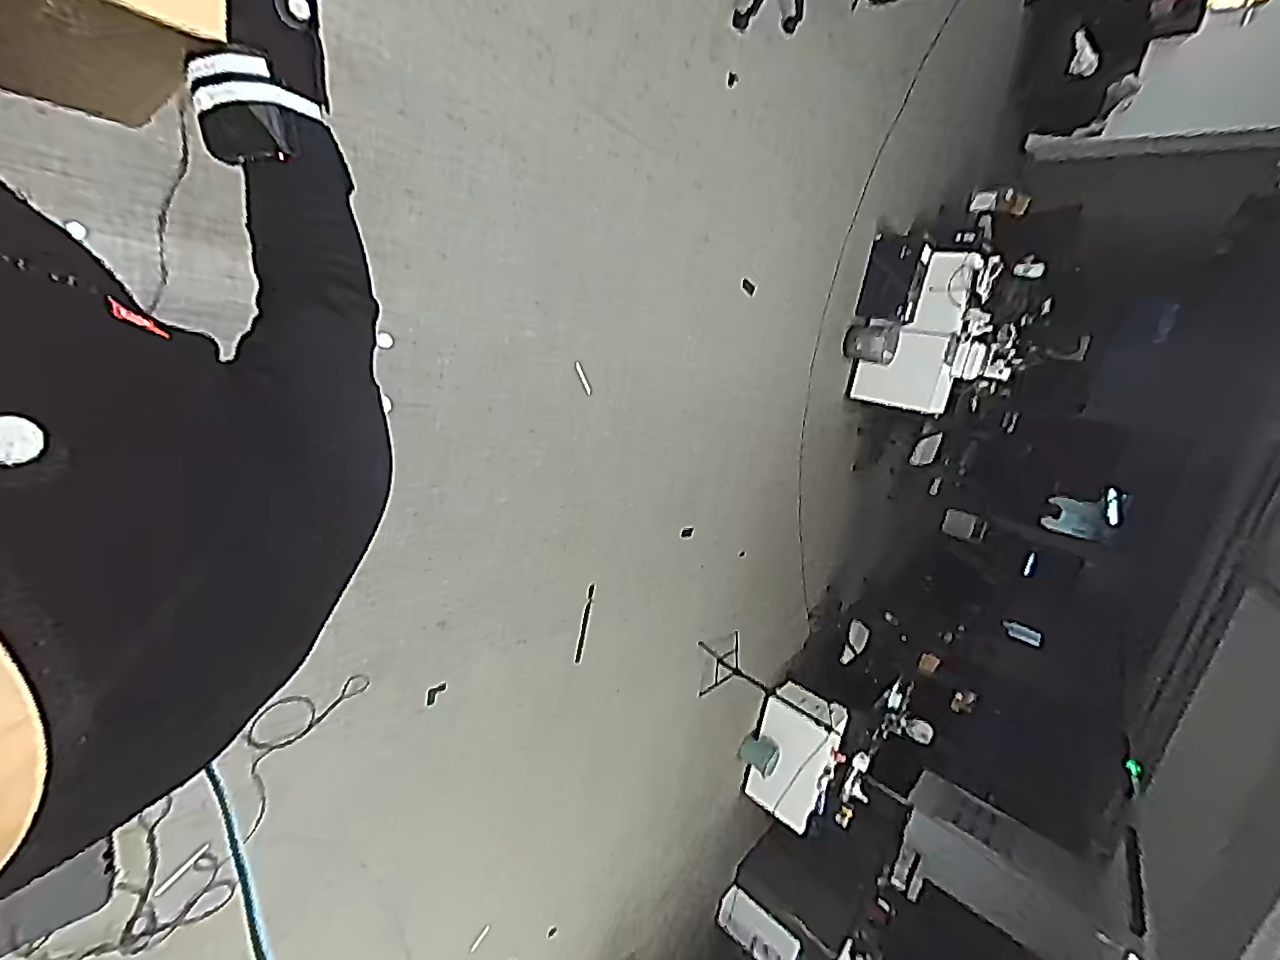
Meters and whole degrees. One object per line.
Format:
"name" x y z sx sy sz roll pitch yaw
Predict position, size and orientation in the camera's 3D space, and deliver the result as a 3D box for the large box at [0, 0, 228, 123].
"large box" -0.514 -0.456 0.282 0.408 0.320 0.320 -9 110 -49
